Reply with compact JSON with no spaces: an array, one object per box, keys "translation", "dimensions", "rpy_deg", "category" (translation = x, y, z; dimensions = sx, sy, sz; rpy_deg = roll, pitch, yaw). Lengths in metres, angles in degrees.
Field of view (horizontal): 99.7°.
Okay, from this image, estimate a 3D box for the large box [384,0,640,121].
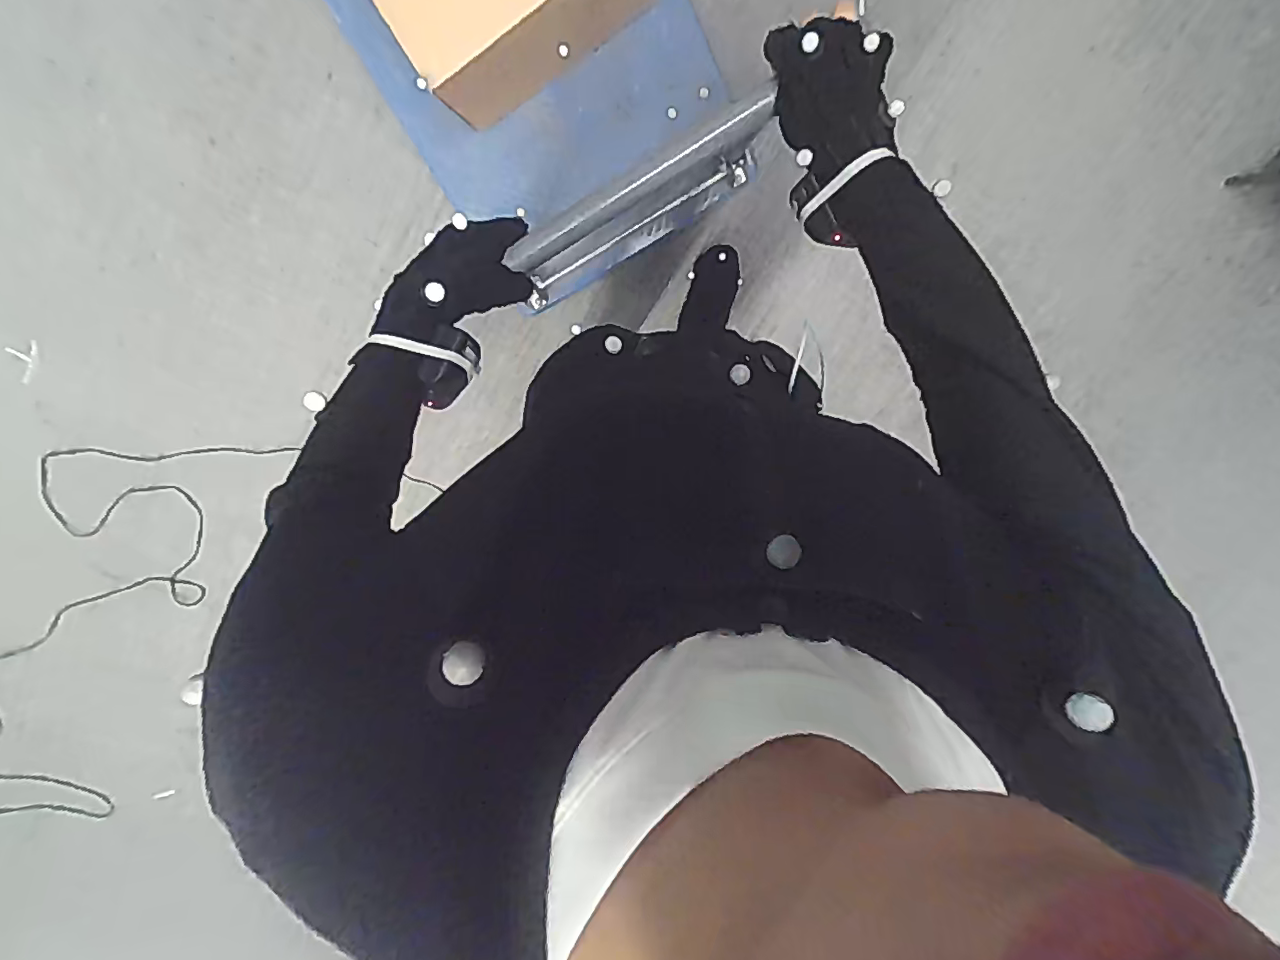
[{"translation":[-0.206,-0.843,0.820],"dimensions":[0.408,0.320,0.320],"rpy_deg":[-30,110,11],"category":"large box"}]
